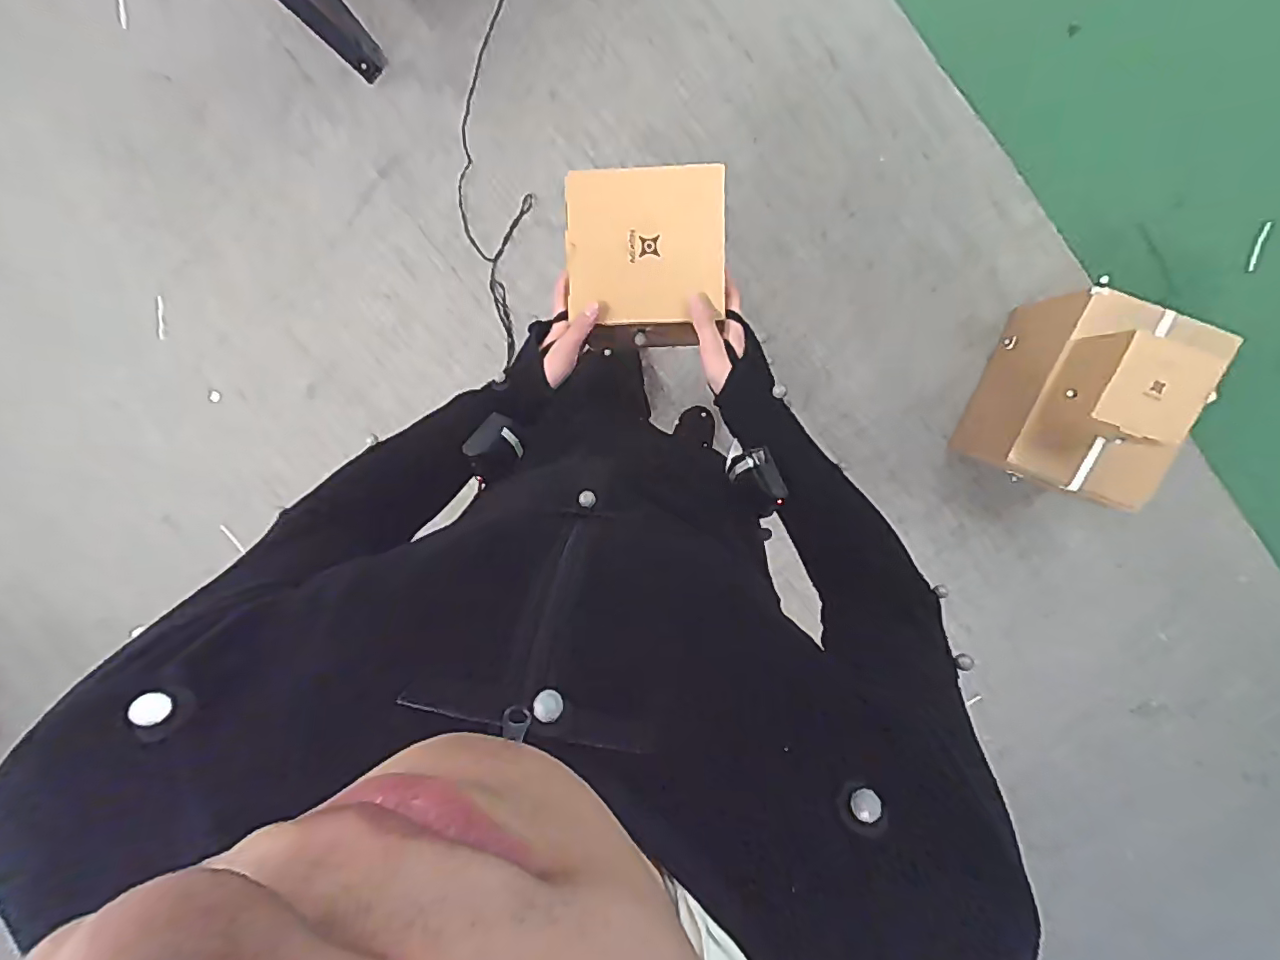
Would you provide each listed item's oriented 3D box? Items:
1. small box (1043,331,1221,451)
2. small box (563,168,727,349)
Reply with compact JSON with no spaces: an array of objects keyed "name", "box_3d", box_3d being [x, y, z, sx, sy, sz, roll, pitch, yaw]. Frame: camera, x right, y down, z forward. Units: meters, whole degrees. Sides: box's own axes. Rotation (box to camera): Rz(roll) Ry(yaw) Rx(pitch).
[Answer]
[{"name":"small box","box_3d":[0.951,-0.174,1.071,0.168,0.176,0.179,23,101,3]},{"name":"small box","box_3d":[0.010,-0.256,0.661,0.179,0.176,0.168,-1,95,5]}]
